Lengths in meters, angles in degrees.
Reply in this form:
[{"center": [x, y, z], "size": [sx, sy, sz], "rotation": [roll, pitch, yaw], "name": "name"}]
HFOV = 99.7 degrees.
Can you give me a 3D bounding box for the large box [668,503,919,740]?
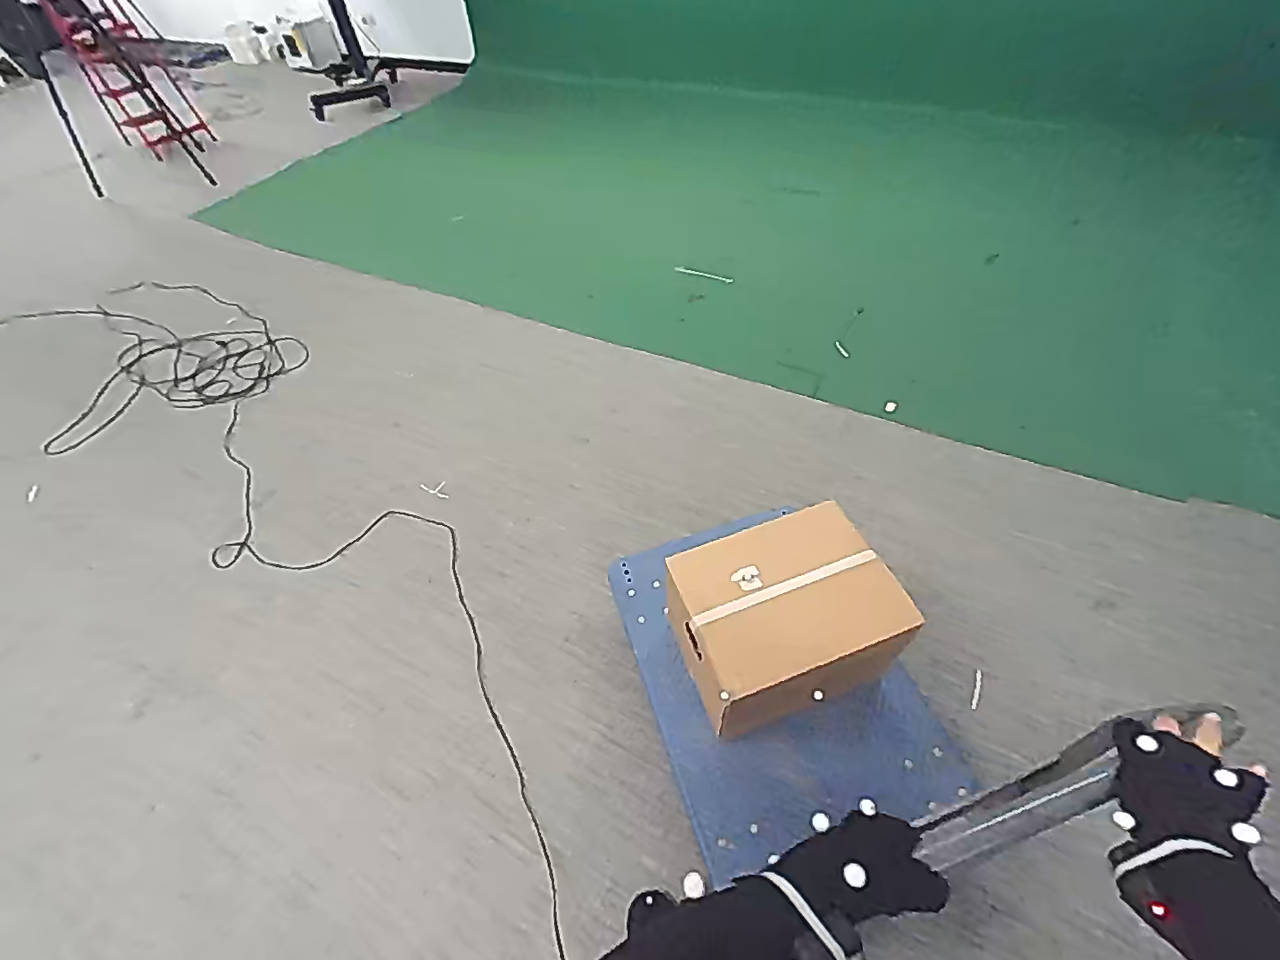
[{"center": [0.306, 0.314, 1.192], "size": [0.408, 0.320, 0.320], "rotation": [-19, 52, -9], "name": "large box"}]
